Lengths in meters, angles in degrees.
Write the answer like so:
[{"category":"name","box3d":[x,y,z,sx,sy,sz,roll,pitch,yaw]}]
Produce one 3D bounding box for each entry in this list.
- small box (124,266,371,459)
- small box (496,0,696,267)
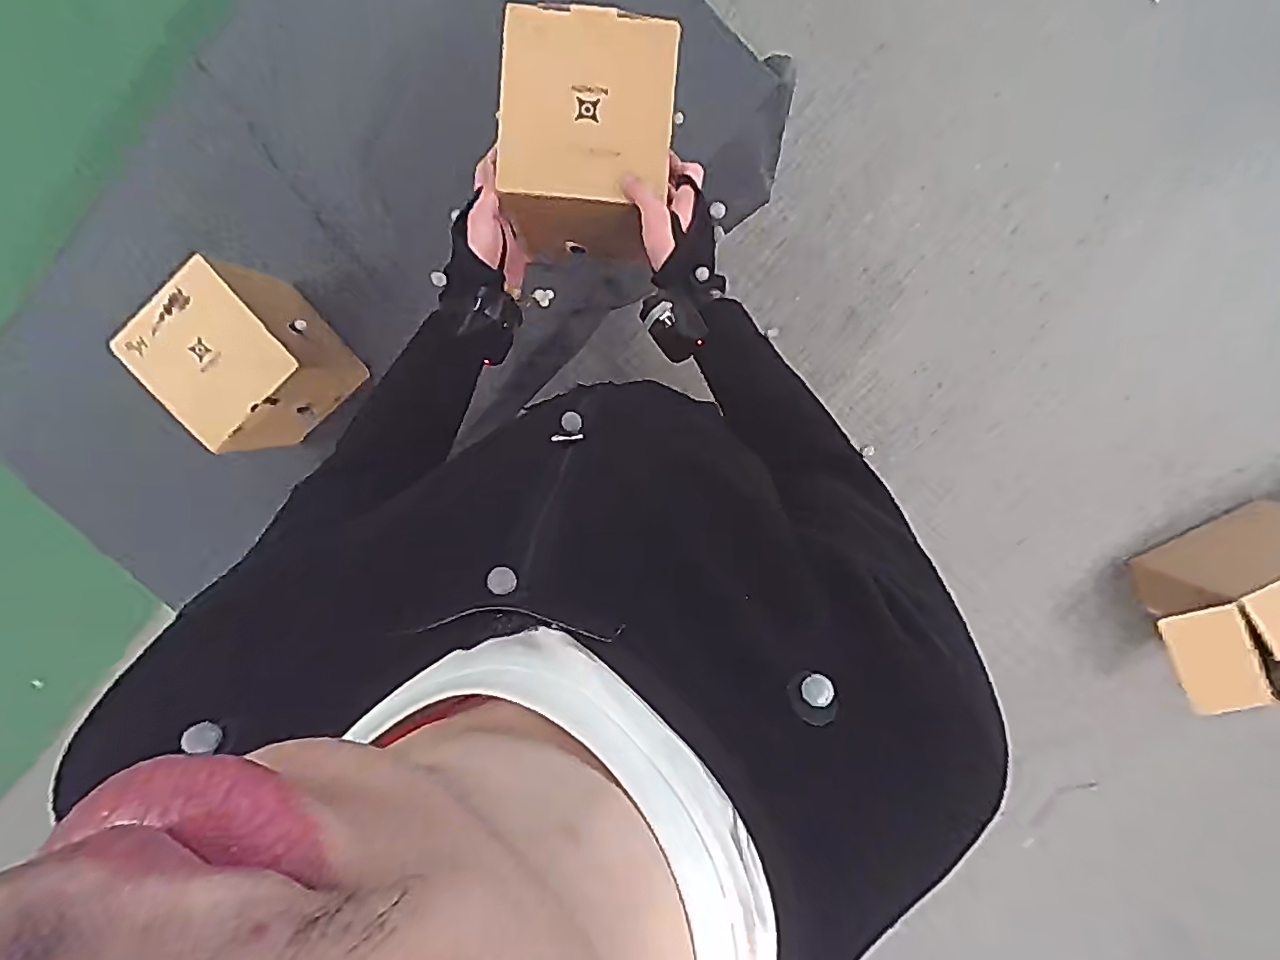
[{"category":"small box","box3d":[-0.514,-0.155,0.739,0.168,0.176,0.179,-43,95,8]},{"category":"small box","box3d":[-0.044,-0.353,0.574,0.168,0.176,0.179,7,92,-3]}]
